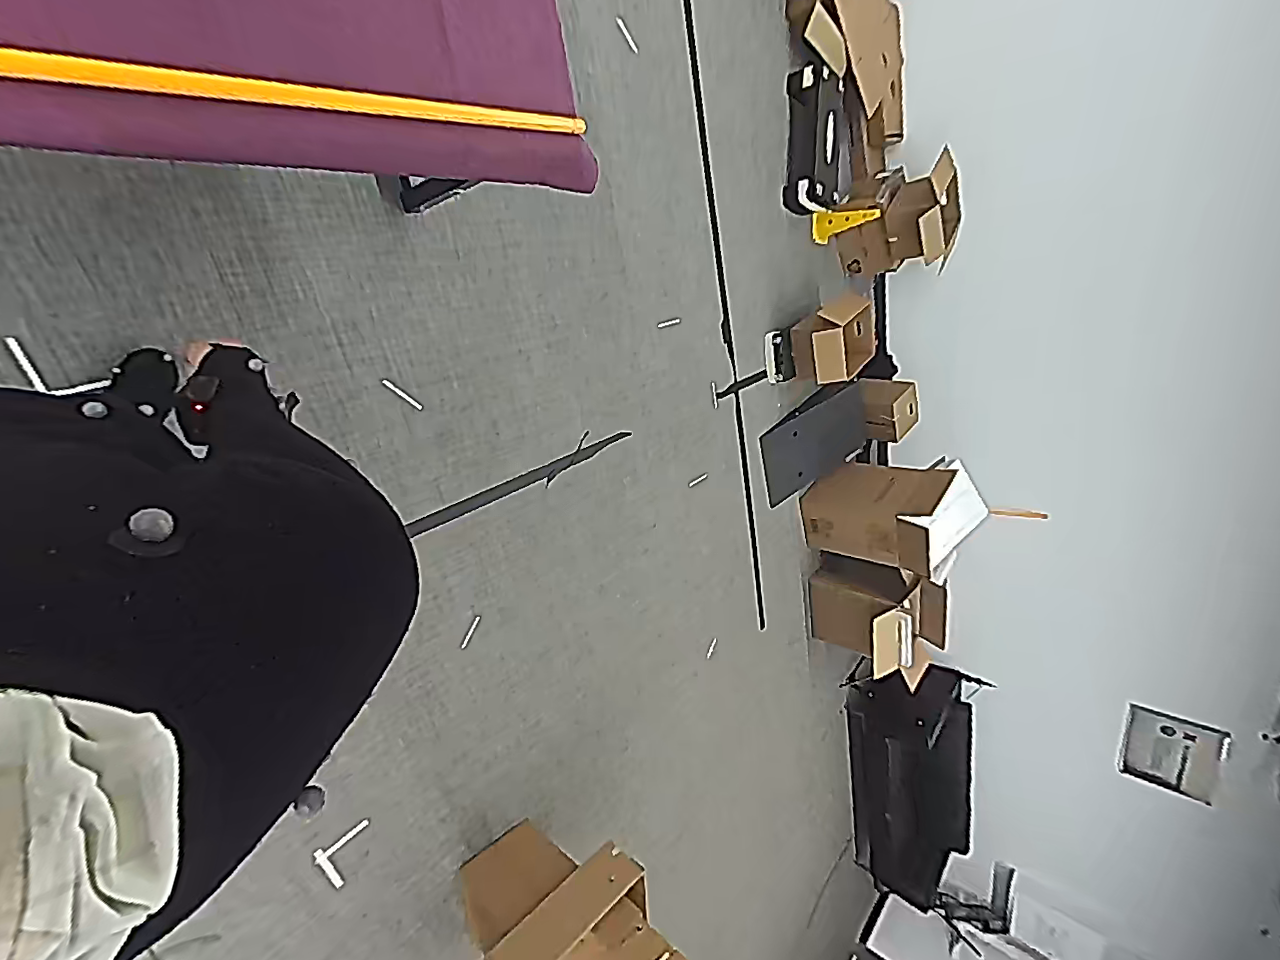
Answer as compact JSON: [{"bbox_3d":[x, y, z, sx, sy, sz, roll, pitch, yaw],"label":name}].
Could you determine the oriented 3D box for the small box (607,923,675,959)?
[{"bbox_3d":[-0.001,1.634,1.797,0.168,0.176,0.179,-8,105,-46],"label":"small box"}]
